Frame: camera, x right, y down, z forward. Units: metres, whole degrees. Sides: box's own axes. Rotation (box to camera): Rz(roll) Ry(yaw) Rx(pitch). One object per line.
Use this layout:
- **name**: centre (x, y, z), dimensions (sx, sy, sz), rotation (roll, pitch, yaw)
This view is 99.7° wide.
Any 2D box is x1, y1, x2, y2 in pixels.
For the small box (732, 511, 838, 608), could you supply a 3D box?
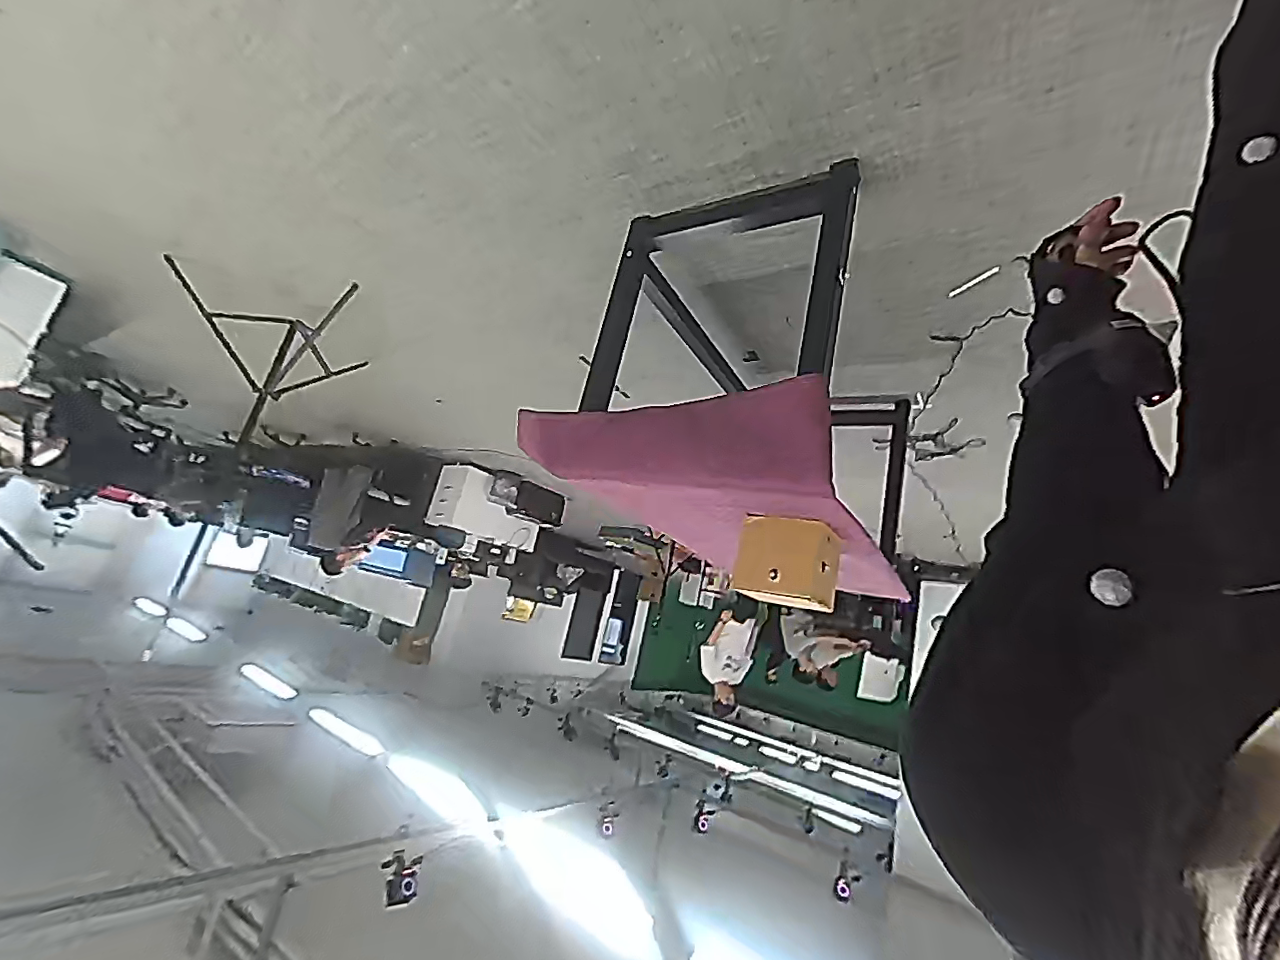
- **small box**: centre (0.323, 0.171, 1.177), dimensions (0.179, 0.176, 0.168), rotation (3, 163, 36)
